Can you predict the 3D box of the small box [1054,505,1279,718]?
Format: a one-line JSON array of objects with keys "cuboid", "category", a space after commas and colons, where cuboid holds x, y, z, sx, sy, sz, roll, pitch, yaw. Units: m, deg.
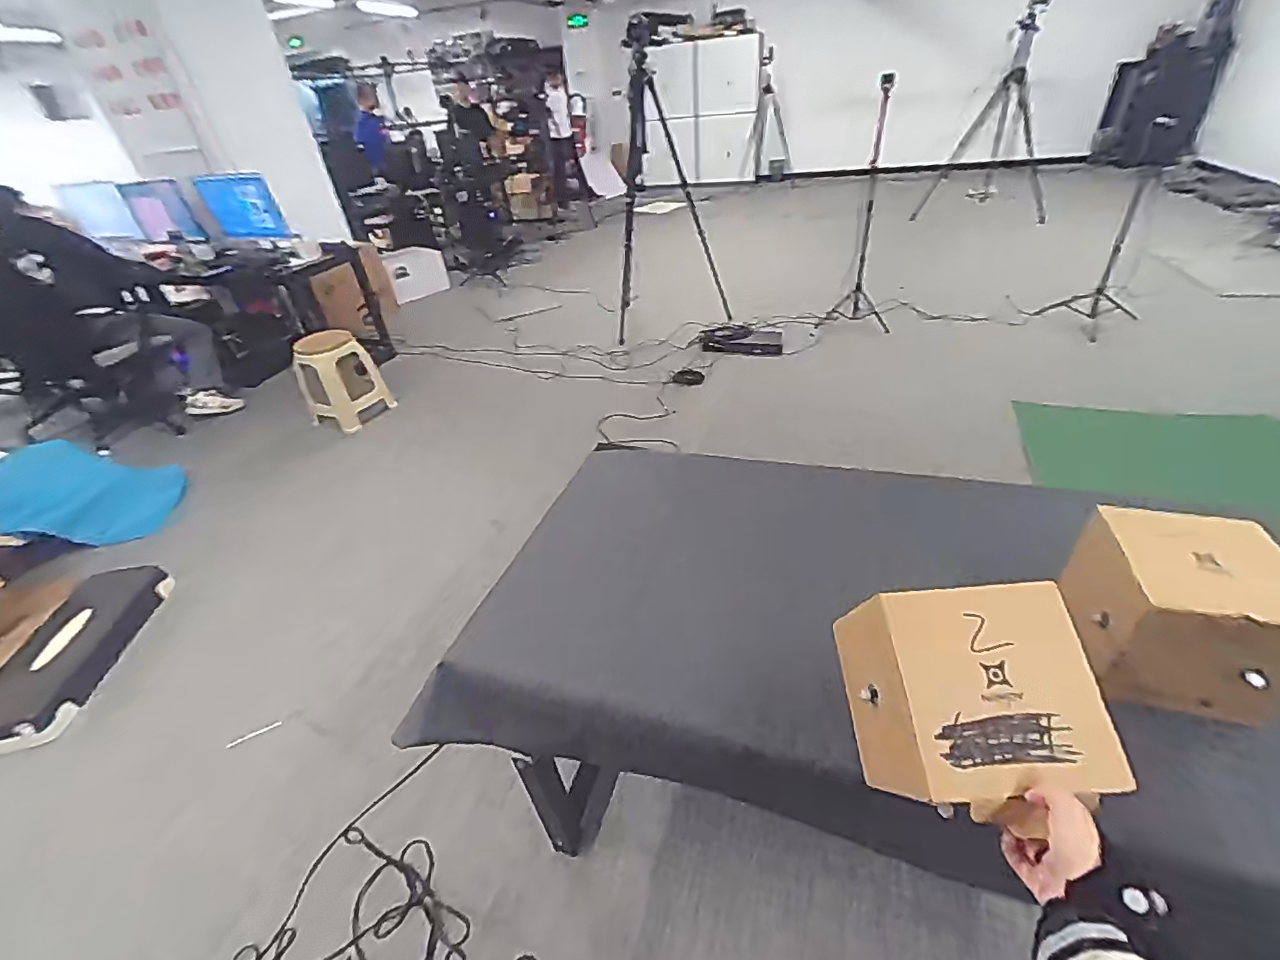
[{"cuboid": [0.645, 0.155, 0.656, 0.168, 0.176, 0.179, 7, 36, 17], "category": "small box"}]
